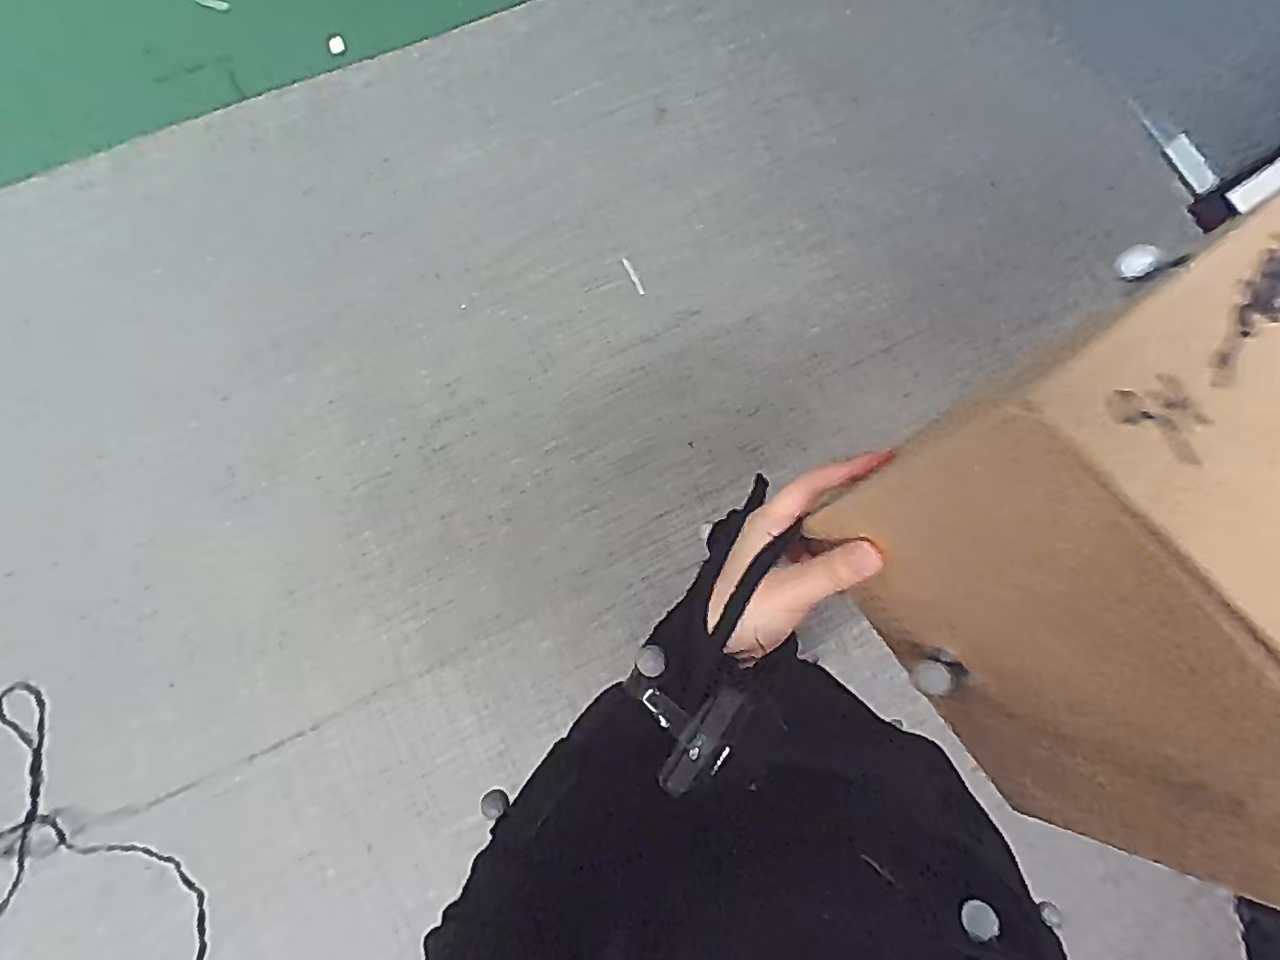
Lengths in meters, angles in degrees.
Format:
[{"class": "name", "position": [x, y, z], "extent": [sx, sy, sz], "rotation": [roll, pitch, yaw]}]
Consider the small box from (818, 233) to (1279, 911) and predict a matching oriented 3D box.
[{"class": "small box", "position": [0.214, 0.034, 0.226], "extent": [0.168, 0.176, 0.179], "rotation": [-33, 79, -15]}]
